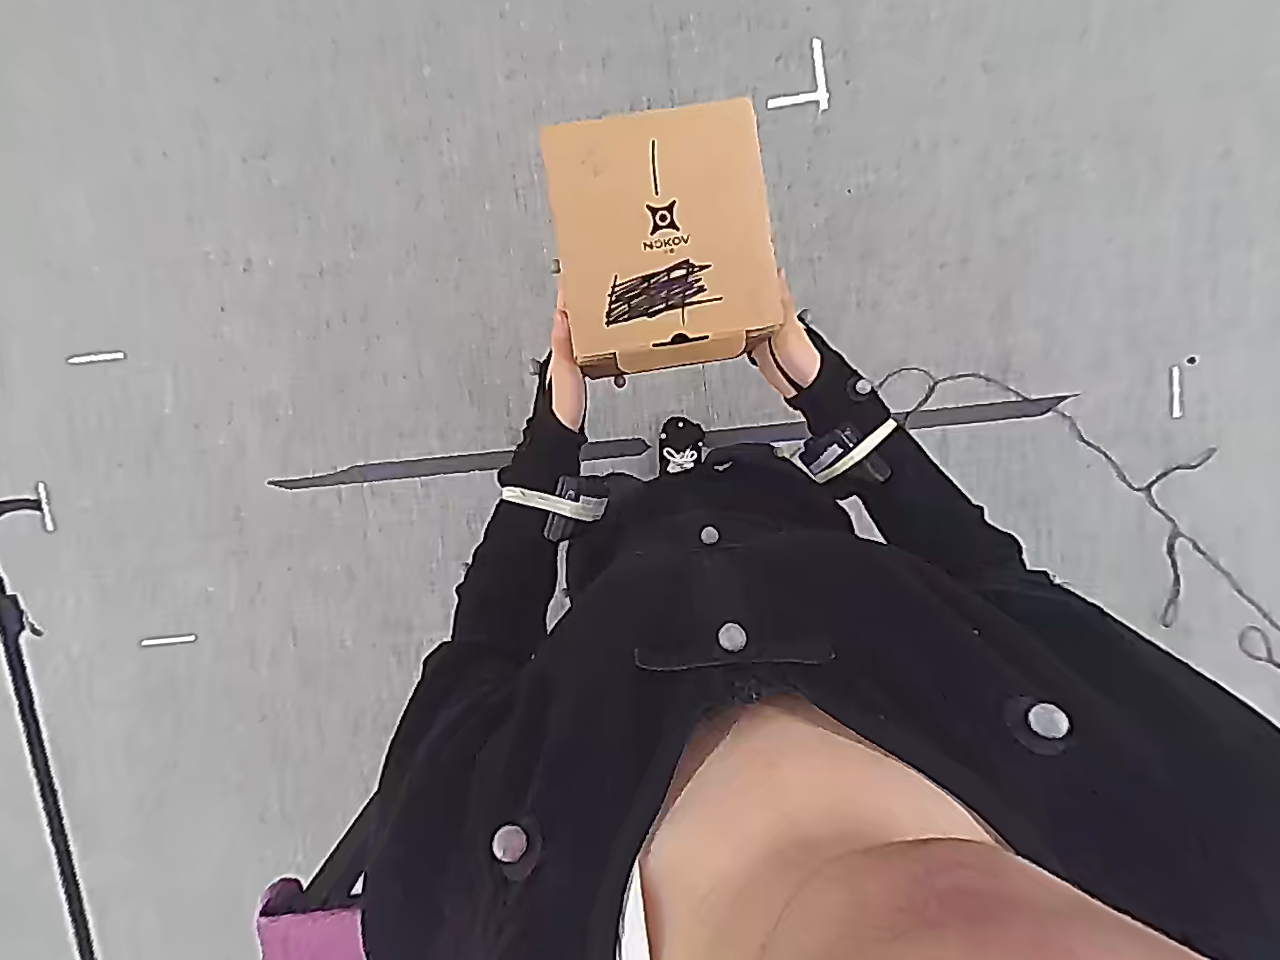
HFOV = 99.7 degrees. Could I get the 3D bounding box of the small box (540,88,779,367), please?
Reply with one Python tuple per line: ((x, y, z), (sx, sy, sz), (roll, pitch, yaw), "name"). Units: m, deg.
((0.016, -0.203, 0.491), (0.168, 0.176, 0.179), (-9, 95, -1), "small box")
